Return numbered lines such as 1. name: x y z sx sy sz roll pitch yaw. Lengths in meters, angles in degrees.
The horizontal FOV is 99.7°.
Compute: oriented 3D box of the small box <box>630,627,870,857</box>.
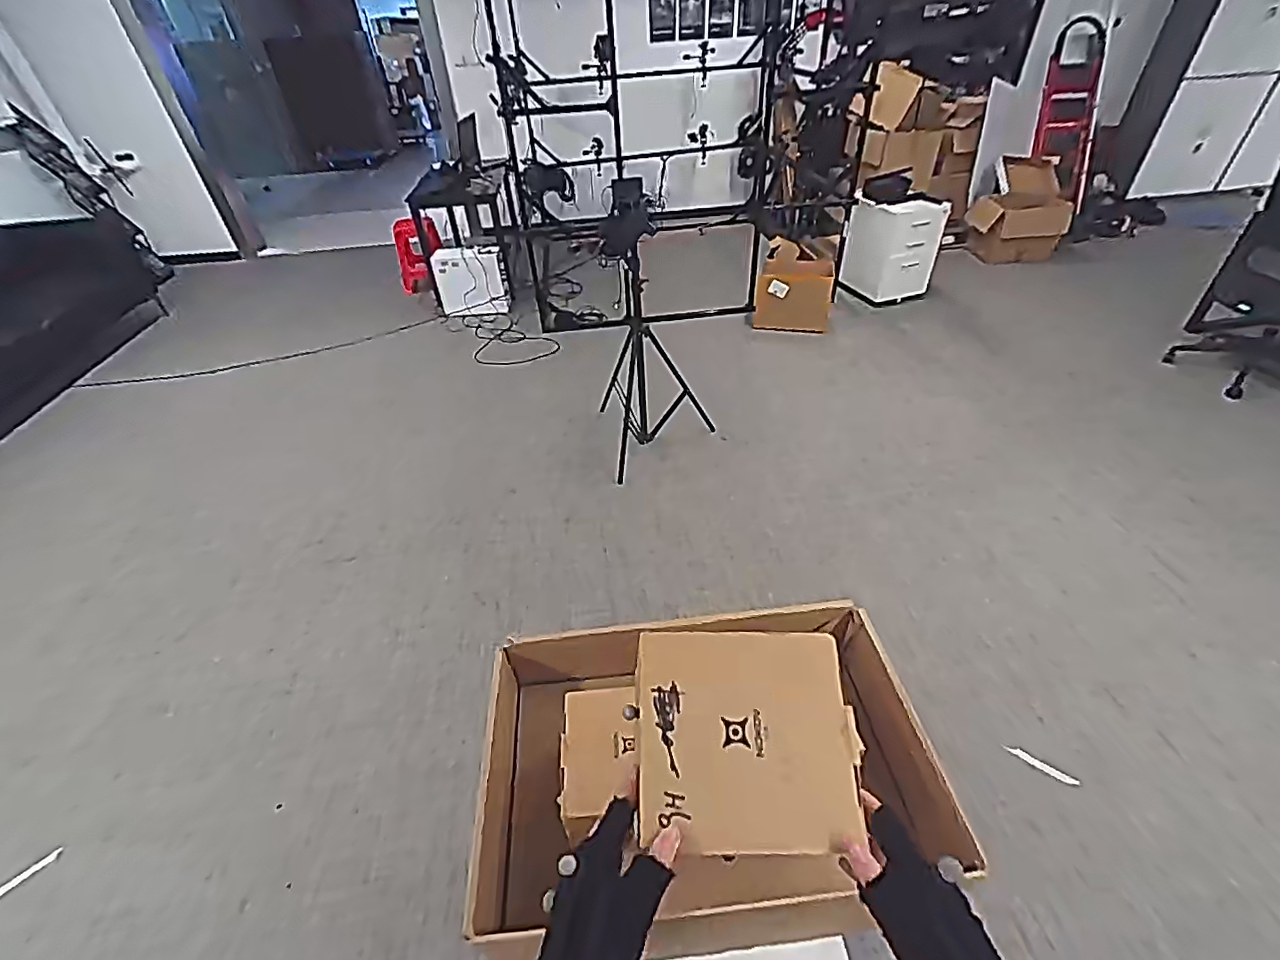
1. small box: 0.084 0.243 0.508 0.179 0.176 0.168 2 60 -2
